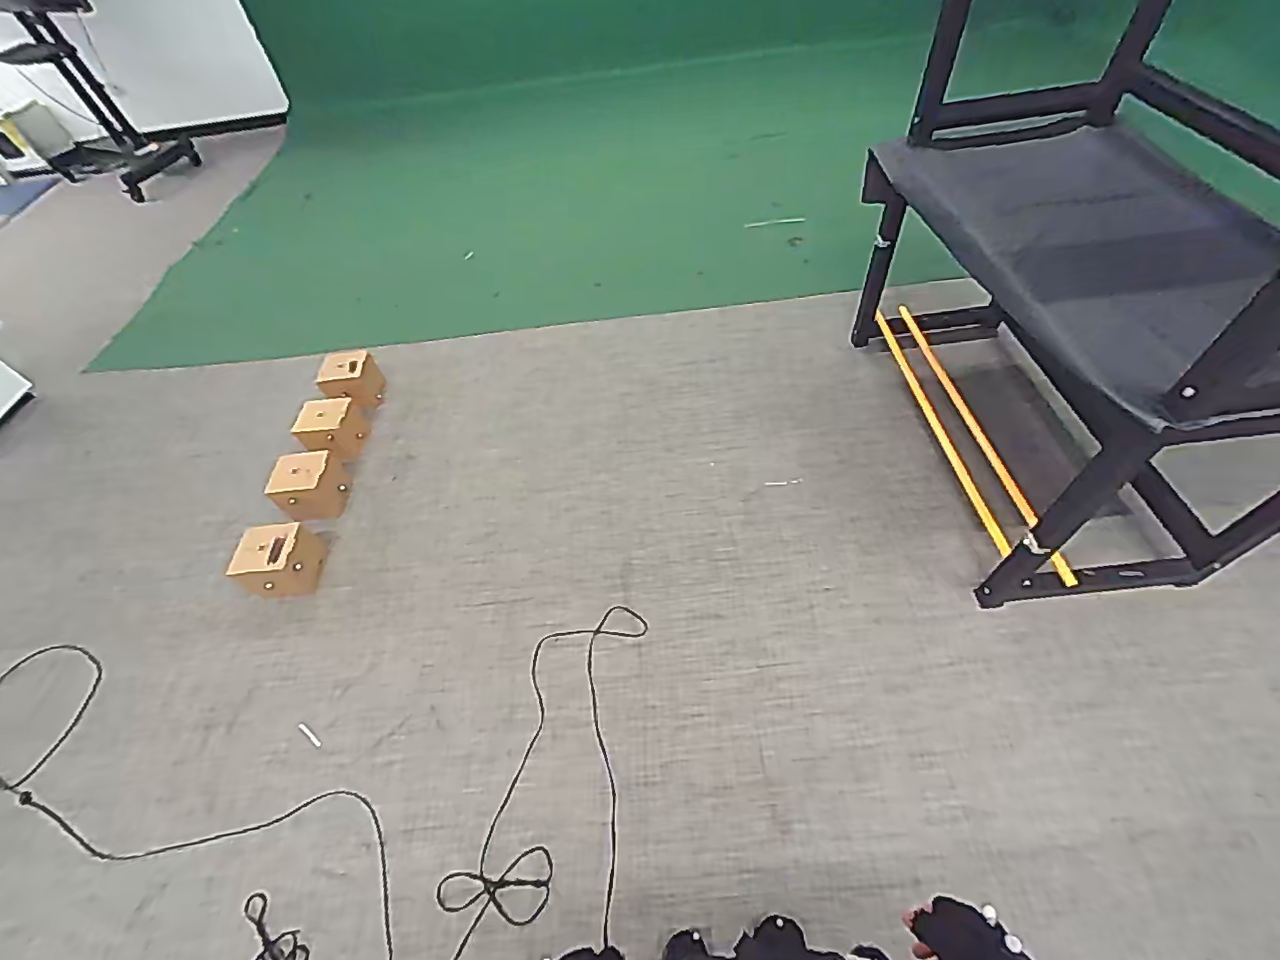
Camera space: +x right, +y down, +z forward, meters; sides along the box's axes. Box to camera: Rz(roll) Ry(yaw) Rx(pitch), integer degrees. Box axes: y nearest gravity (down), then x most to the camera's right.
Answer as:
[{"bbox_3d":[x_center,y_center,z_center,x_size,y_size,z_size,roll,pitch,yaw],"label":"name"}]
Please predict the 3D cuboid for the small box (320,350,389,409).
[{"bbox_3d":[-1.156,-0.403,2.208,0.179,0.176,0.168,-7,52,1],"label":"small box"}]

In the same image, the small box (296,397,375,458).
[{"bbox_3d":[-1.142,-0.192,2.042,0.179,0.176,0.168,-4,52,3],"label":"small box"}]

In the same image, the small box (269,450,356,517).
[{"bbox_3d":[-1.128,0.017,1.874,0.179,0.176,0.168,-6,53,2],"label":"small box"}]
